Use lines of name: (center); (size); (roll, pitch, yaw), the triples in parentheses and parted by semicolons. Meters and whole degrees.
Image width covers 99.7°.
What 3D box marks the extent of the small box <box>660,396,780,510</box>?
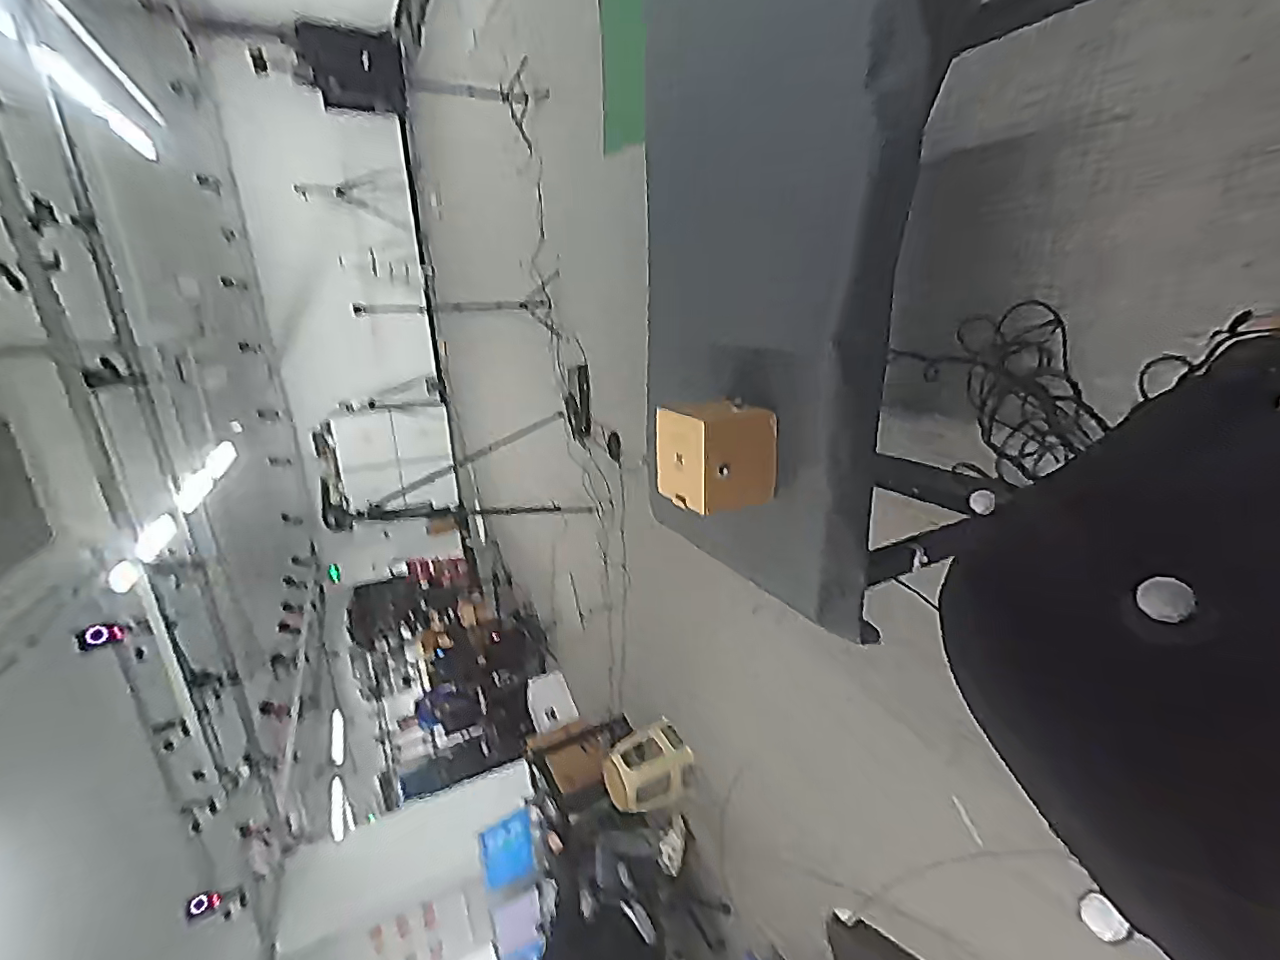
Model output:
small box: (0.153, -0.060, 1.045); (0.168, 0.176, 0.179); (27, 123, 57)
